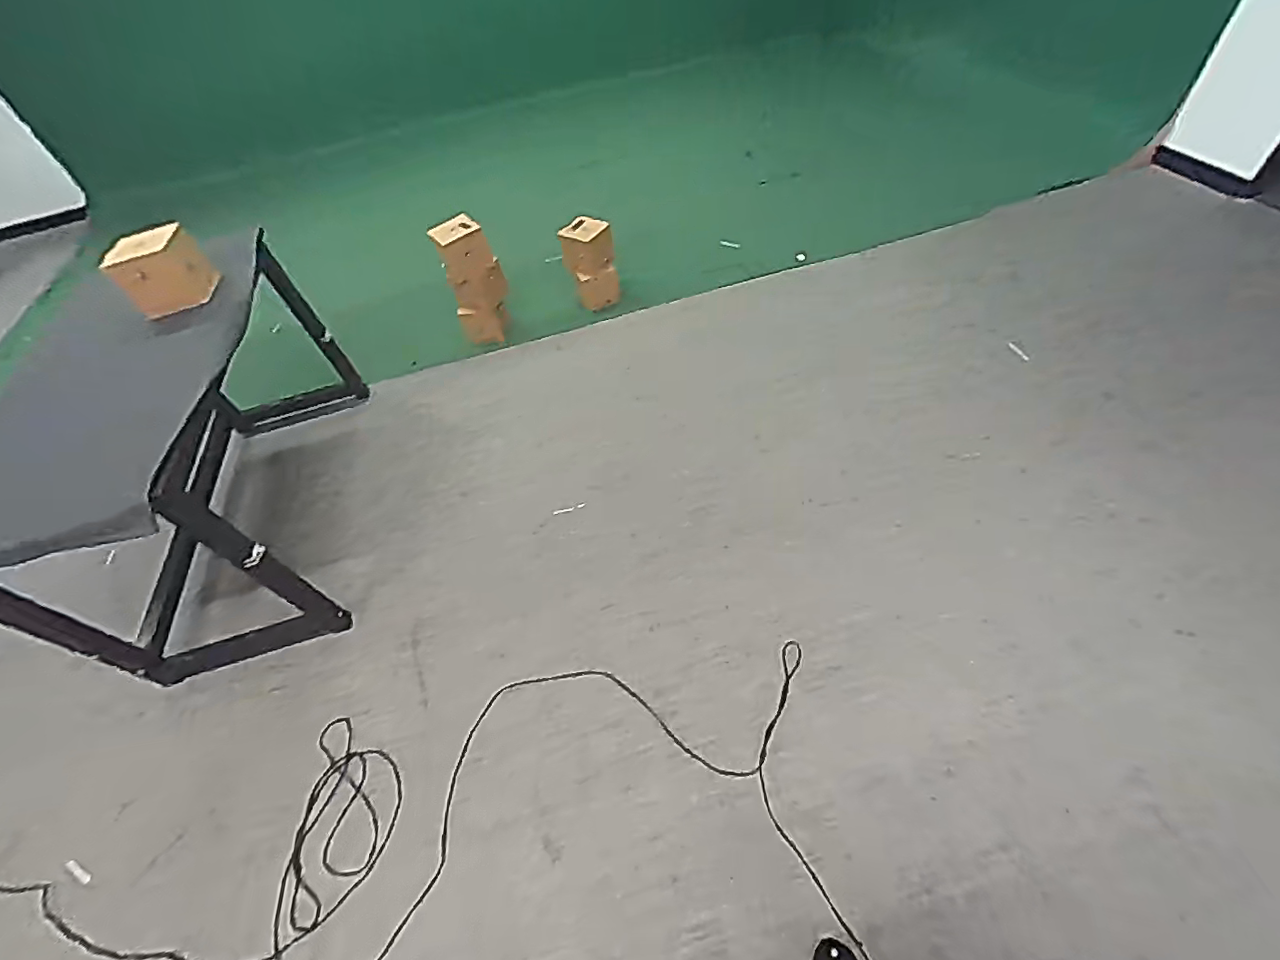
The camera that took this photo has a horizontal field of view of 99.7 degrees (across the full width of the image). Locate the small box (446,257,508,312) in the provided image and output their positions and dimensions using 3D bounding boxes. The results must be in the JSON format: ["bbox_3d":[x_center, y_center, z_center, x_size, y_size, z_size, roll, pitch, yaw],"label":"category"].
[{"bbox_3d":[-0.704,-0.859,2.360,0.168,0.176,0.179,15,56,18],"label":"small box"}]

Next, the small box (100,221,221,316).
[{"bbox_3d":[-1.354,-0.601,1.545,0.179,0.176,0.168,-17,52,-2],"label":"small box"}]

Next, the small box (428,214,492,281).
[{"bbox_3d":[-0.733,-0.957,2.231,0.179,0.176,0.168,-35,56,-16],"label":"small box"}]

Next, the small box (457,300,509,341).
[{"bbox_3d":[-0.715,-0.757,2.489,0.168,0.176,0.179,-3,52,6],"label":"small box"}]

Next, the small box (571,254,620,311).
[{"bbox_3d":[-0.209,-0.925,2.536,0.168,0.176,0.179,-23,52,-9],"label":"small box"}]
